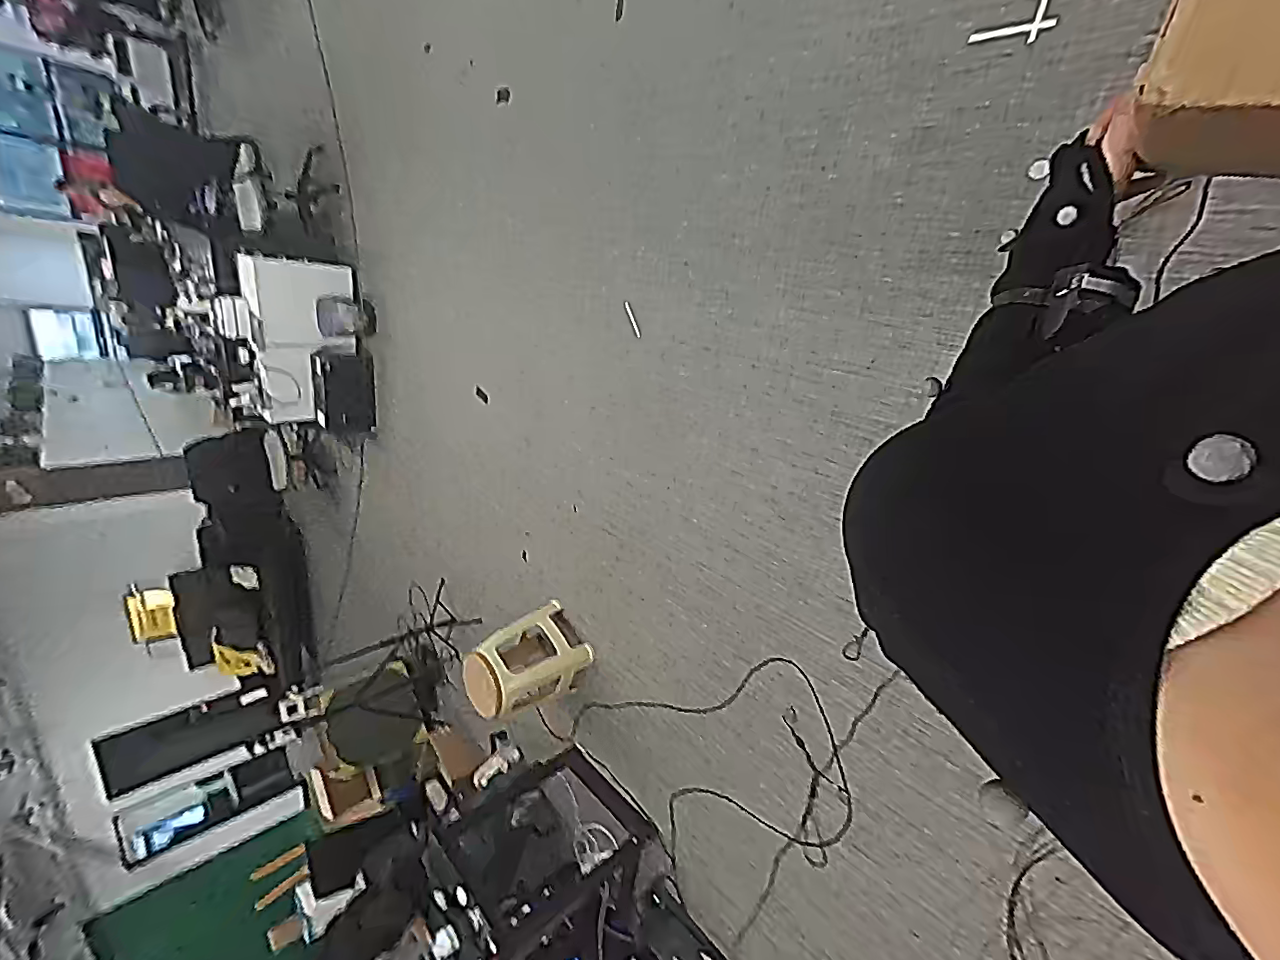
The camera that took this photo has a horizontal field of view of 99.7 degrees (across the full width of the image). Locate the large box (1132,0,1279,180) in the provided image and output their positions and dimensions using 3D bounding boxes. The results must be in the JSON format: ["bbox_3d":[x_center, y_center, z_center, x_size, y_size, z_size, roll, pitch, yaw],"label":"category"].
[{"bbox_3d":[0.473,-0.279,0.167,0.408,0.320,0.320,24,123,32],"label":"large box"}]
